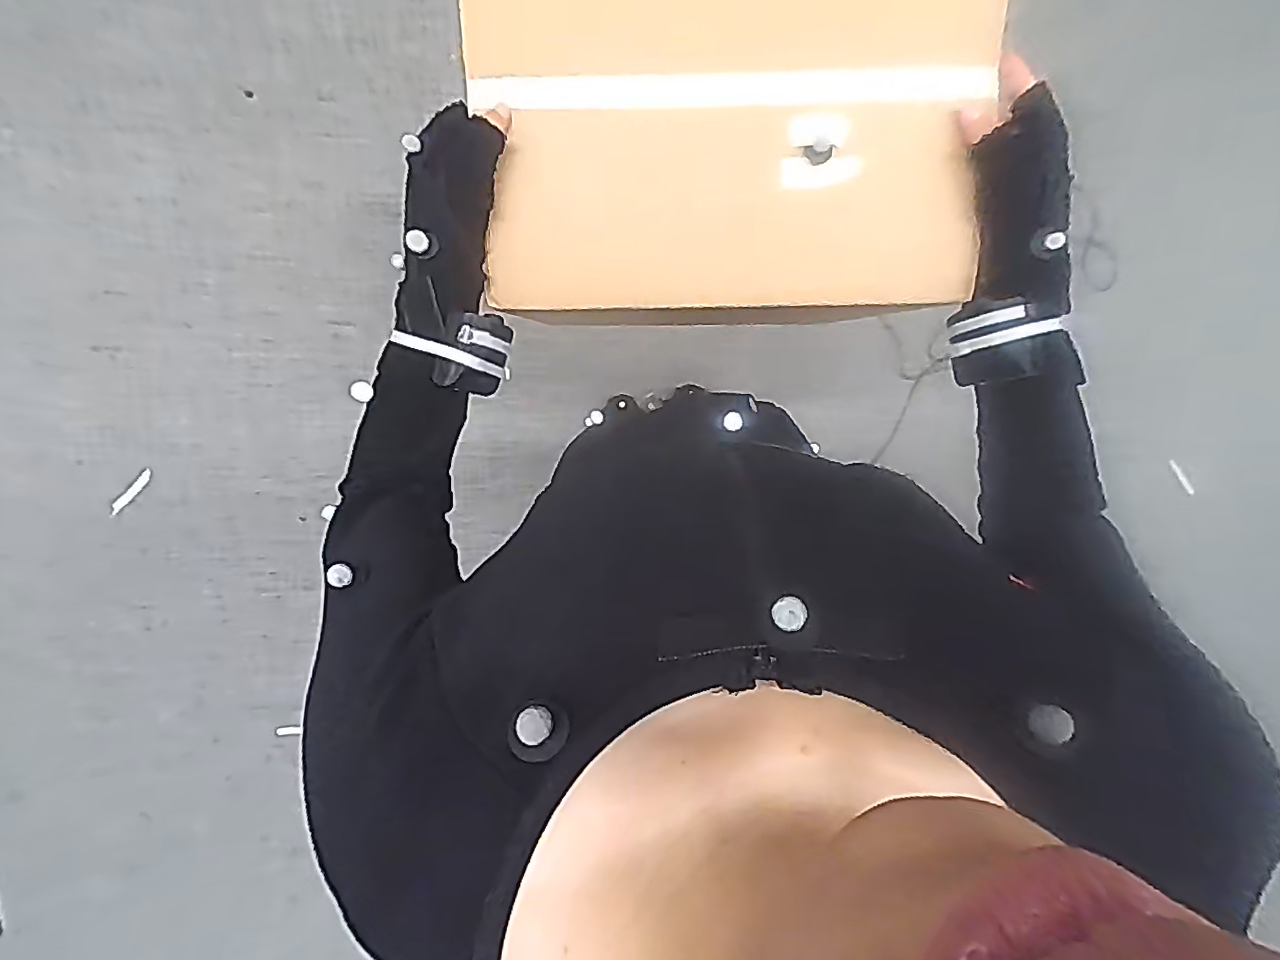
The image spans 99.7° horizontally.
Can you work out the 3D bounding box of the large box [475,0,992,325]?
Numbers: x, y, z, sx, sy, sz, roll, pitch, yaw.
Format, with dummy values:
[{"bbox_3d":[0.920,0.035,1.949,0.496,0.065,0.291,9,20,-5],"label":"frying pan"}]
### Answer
[{"bbox_3d":[0.070,-0.340,0.574,0.408,0.320,0.320,-1,103,-1],"label":"large box"}]
